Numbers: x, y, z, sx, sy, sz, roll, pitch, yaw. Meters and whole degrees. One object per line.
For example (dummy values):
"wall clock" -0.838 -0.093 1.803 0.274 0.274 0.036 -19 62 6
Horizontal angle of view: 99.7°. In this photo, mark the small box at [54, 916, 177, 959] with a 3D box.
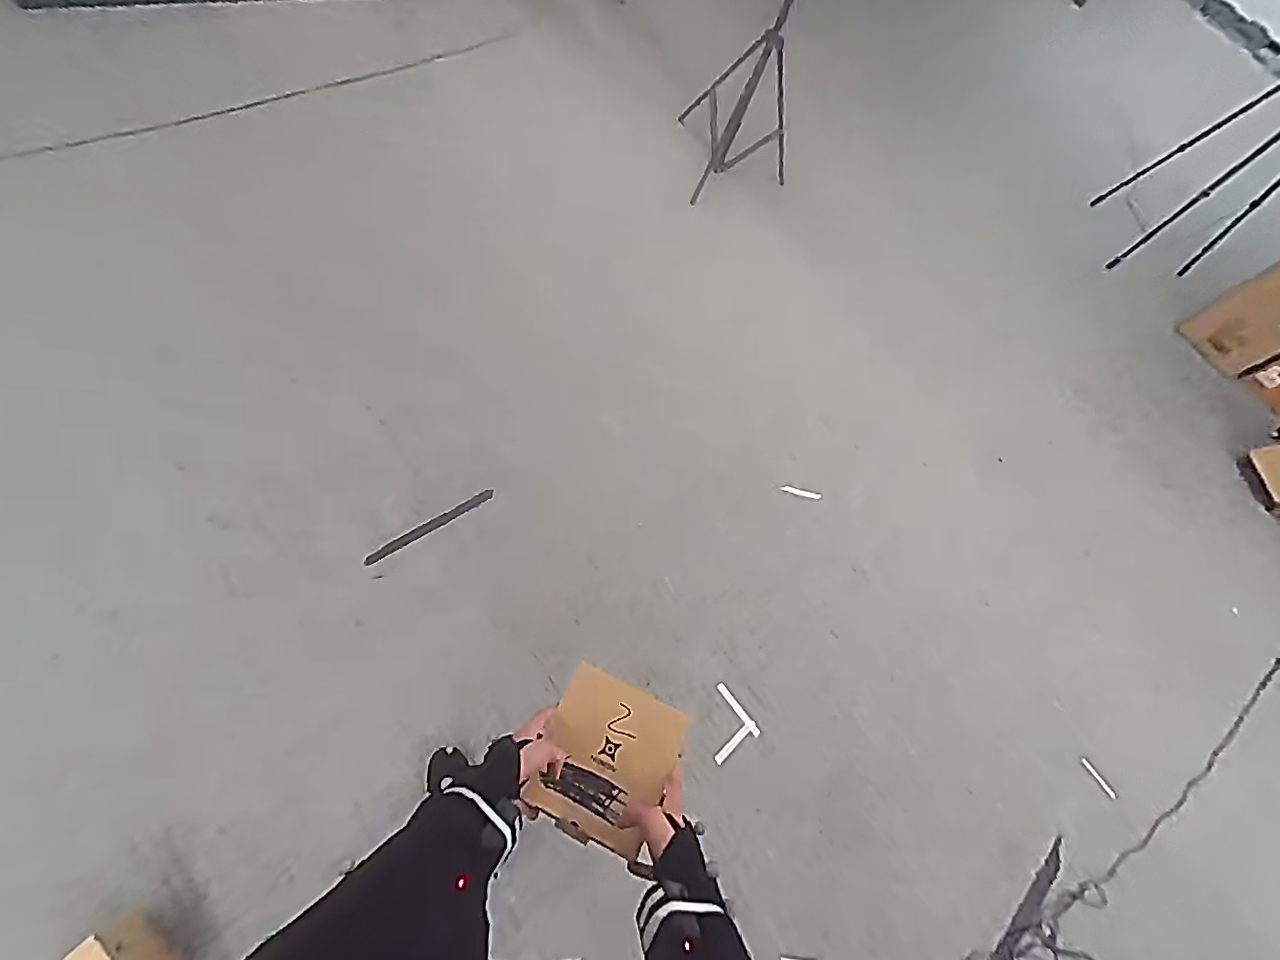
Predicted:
"small box" -0.955 0.910 0.943 0.179 0.176 0.168 45 60 7
